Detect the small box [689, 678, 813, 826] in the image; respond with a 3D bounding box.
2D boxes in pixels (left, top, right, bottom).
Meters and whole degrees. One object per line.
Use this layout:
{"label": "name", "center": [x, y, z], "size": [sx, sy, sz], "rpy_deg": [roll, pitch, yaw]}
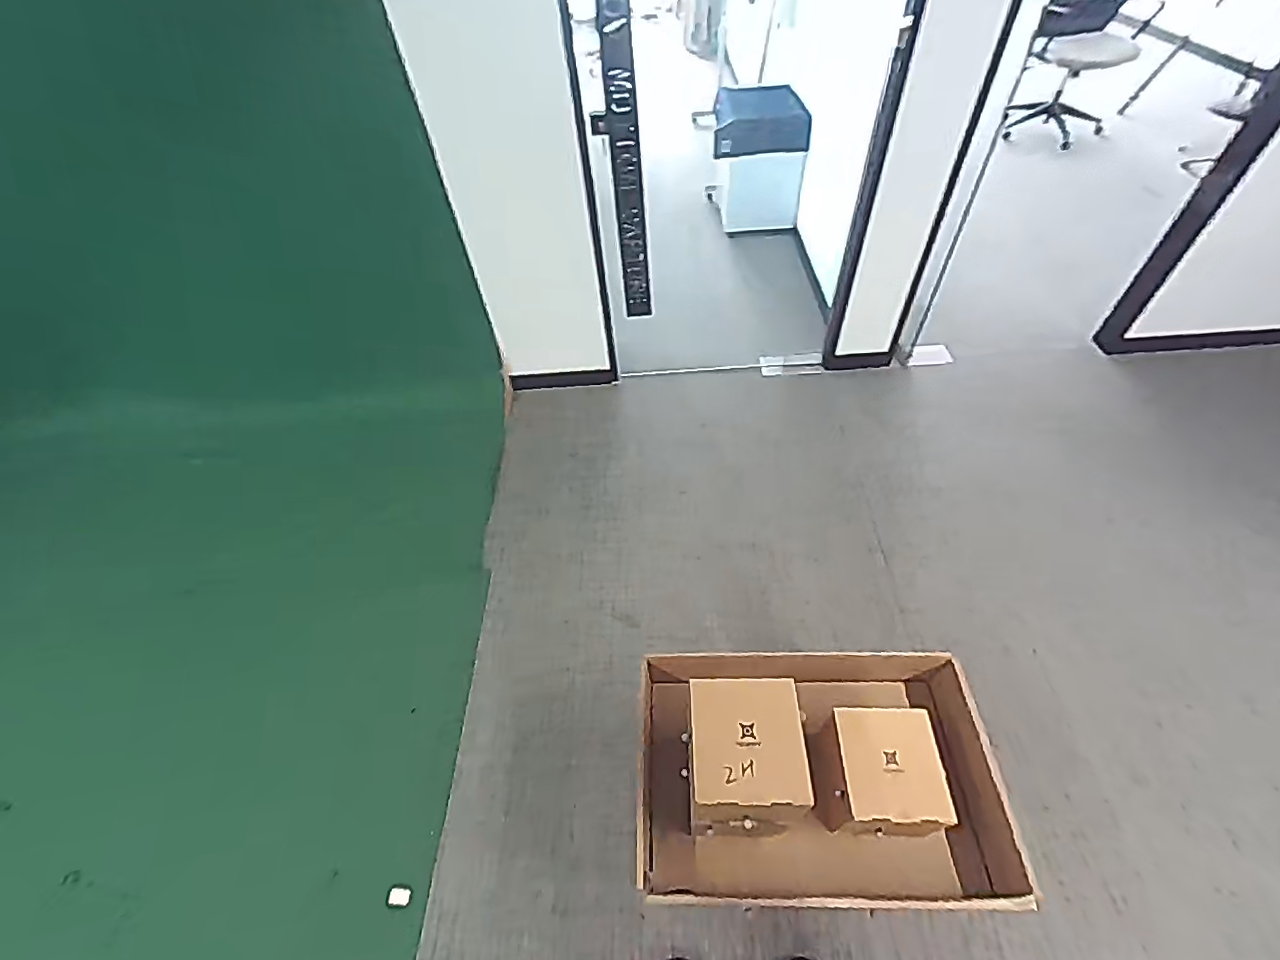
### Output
{"label": "small box", "center": [0.163, 0.430, 0.855], "size": [0.168, 0.176, 0.179], "rpy_deg": [-1, 51, 4]}
